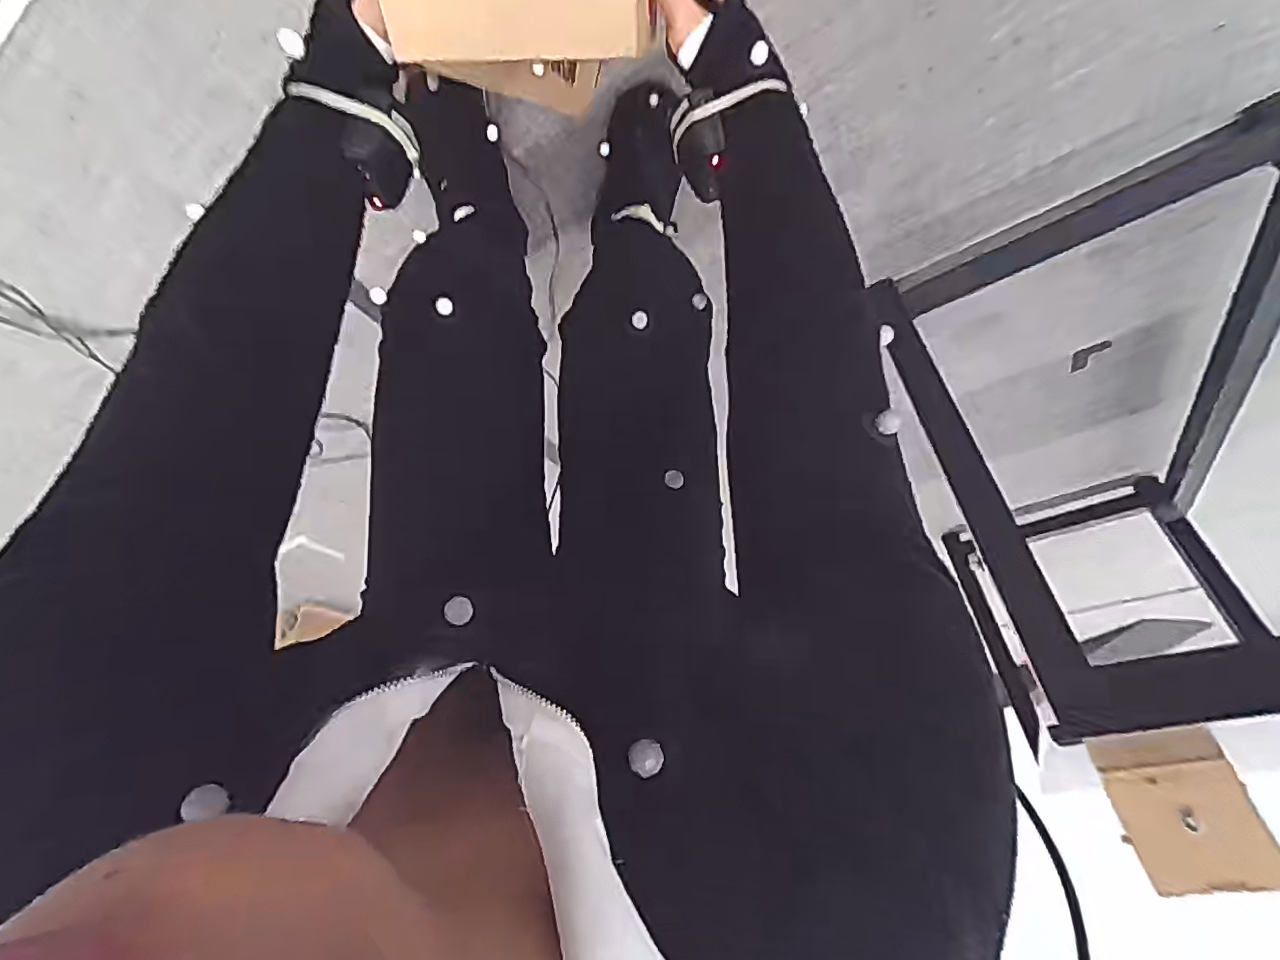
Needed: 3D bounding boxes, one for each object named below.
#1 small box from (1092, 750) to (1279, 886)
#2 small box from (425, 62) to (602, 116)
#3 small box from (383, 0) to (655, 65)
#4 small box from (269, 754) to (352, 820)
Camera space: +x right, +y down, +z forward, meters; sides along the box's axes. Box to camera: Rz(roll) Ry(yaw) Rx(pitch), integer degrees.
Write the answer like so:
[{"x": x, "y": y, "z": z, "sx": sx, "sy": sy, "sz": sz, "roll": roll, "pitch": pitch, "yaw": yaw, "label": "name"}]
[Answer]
[{"x": 0.876, "y": 0.547, "z": 0.880, "sx": 0.168, "sy": 0.176, "sz": 0.179, "roll": -25, "pitch": 140, "yaw": 27, "label": "small box"}, {"x": -0.116, "y": -0.503, "z": 0.526, "sx": 0.179, "sy": 0.176, "sz": 0.168, "roll": 7, "pitch": 143, "yaw": -18, "label": "small box"}, {"x": -0.076, "y": -0.397, "z": 0.360, "sx": 0.168, "sy": 0.176, "sz": 0.179, "roll": 3, "pitch": 133, "yaw": 4, "label": "small box"}, {"x": -1.112, "y": 1.047, "z": 1.839, "sx": 0.179, "sy": 0.176, "sz": 0.168, "roll": -27, "pitch": 141, "yaw": 24, "label": "small box"}]
